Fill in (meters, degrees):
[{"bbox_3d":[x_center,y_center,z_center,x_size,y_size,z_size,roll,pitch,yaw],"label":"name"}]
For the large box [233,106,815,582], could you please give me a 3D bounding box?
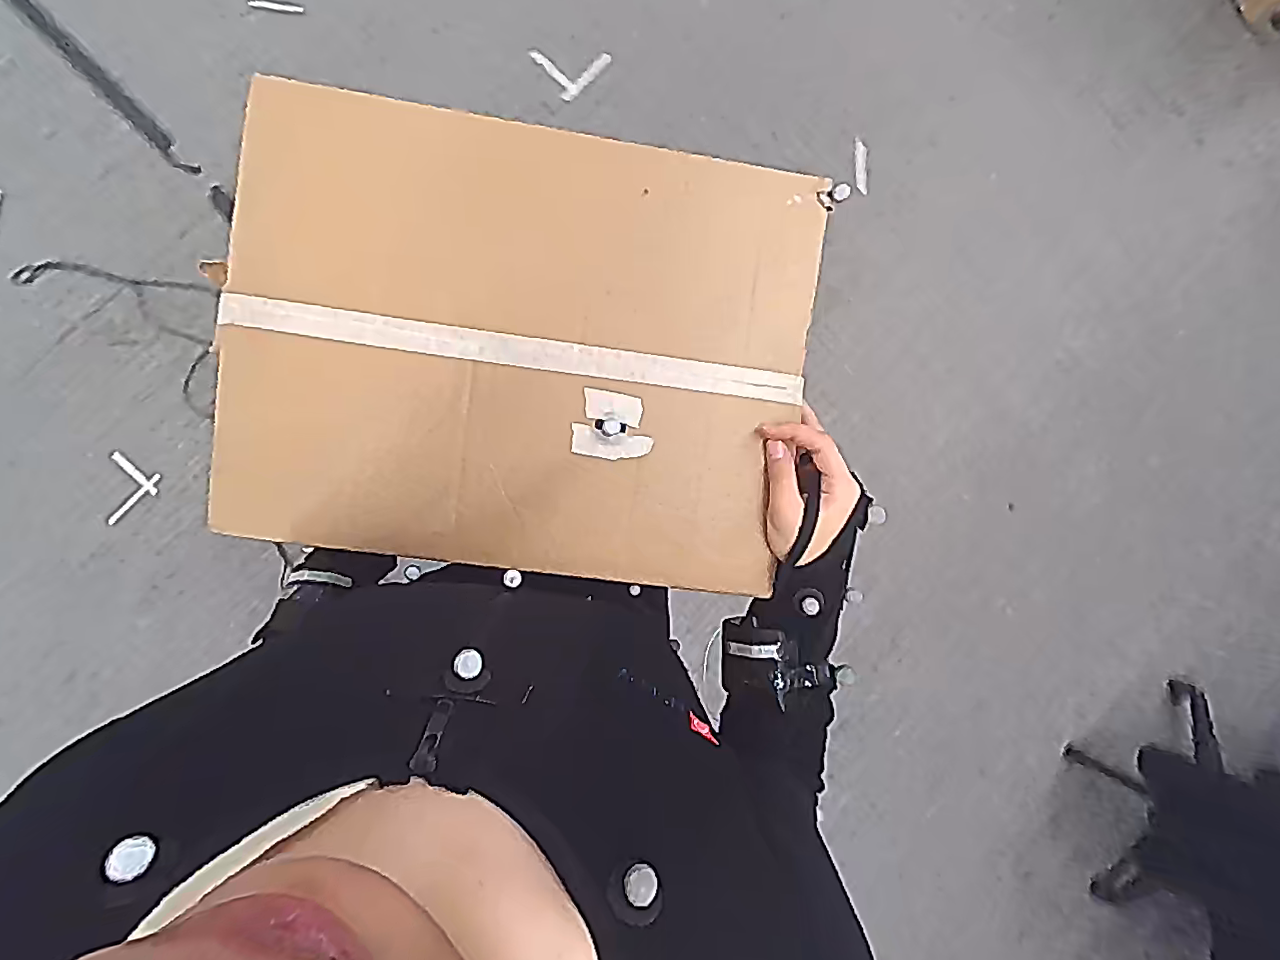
[{"bbox_3d":[-0.093,-0.096,0.542,0.408,0.320,0.320,6,93,-6],"label":"large box"}]
